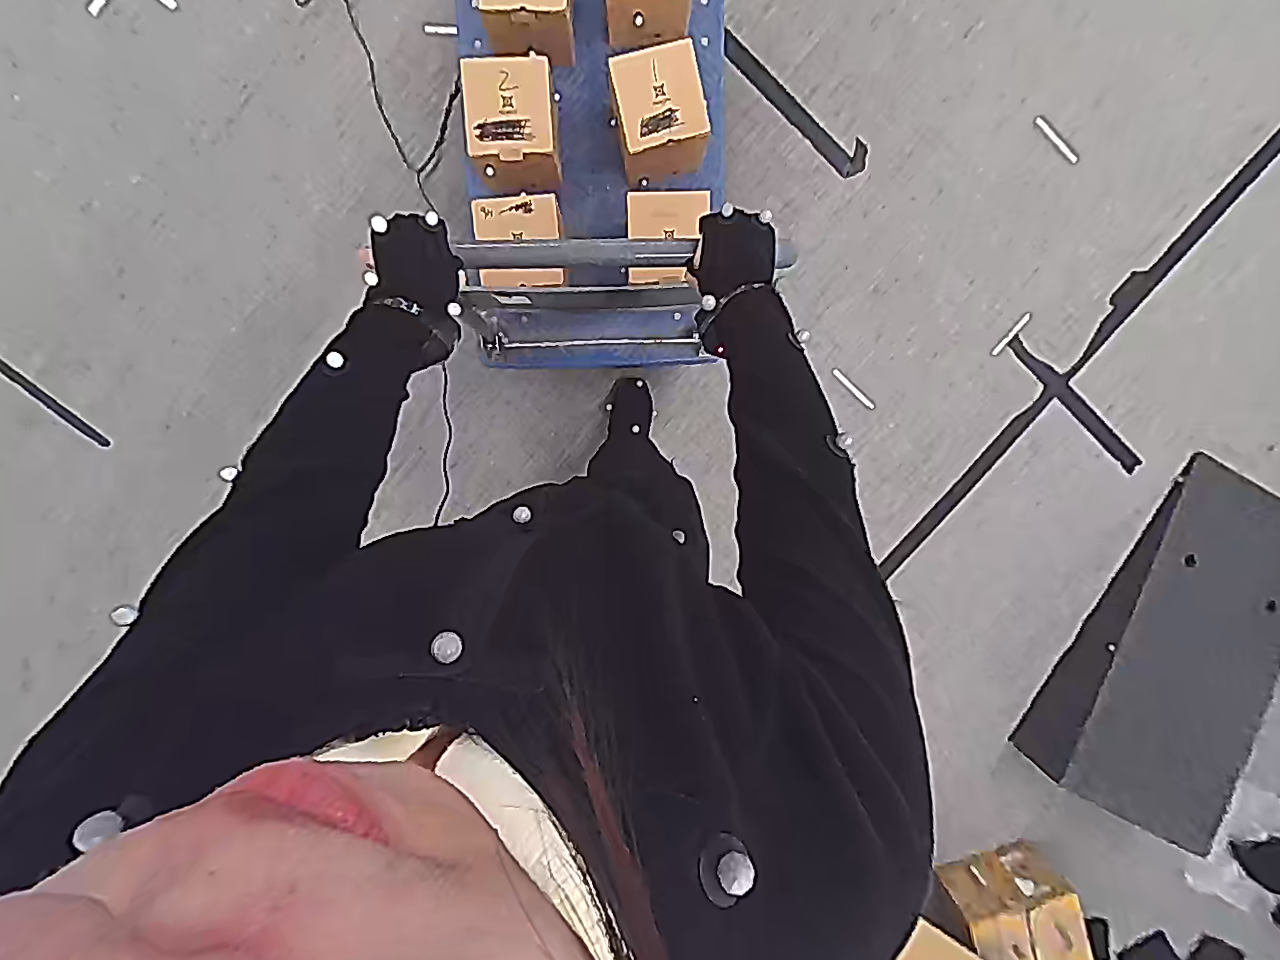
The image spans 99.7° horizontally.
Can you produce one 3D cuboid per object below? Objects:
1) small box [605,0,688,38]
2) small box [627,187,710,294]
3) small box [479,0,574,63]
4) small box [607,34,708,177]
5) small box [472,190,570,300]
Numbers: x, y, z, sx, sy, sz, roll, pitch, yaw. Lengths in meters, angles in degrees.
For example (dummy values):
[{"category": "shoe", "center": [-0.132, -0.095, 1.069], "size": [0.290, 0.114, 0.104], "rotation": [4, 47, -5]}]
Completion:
[{"category": "small box", "center": [0.010, -1.023, 1.078], "size": [0.168, 0.176, 0.179], "rotation": [-5, 98, -1]}, {"category": "small box", "center": [0.056, -0.500, 1.150], "size": [0.168, 0.176, 0.179], "rotation": [-1, 97, -2]}, {"category": "small box", "center": [-0.221, -0.979, 1.075], "size": [0.168, 0.176, 0.179], "rotation": [0, 98, -2]}, {"category": "small box", "center": [0.034, -0.754, 1.114], "size": [0.168, 0.176, 0.179], "rotation": [-14, 97, 0]}, {"category": "small box", "center": [-0.242, -0.484, 1.141], "size": [0.168, 0.176, 0.179], "rotation": [-6, 98, -2]}]
